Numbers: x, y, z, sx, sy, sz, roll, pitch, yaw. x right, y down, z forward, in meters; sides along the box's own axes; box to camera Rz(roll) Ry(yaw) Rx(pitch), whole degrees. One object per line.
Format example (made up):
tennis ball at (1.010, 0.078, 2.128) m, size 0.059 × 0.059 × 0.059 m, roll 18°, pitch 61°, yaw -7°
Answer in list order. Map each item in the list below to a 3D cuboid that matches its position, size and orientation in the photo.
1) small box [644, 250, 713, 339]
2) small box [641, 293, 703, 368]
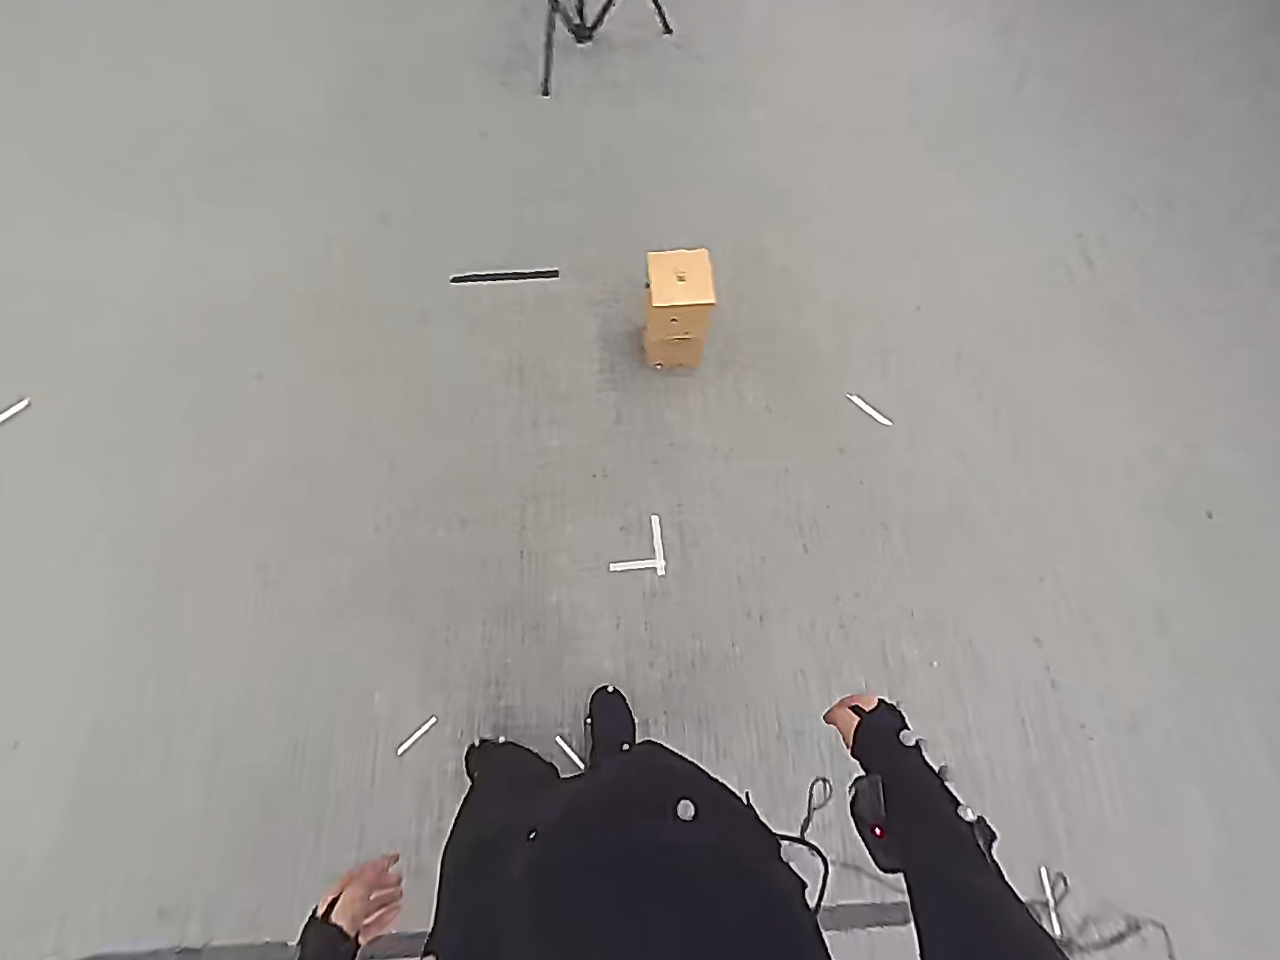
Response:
small box at (0.100, -0.505, 1.498) m, size 0.168 × 0.176 × 0.179 m, roll -5°, pitch 72°, yaw -4°
small box at (0.092, -0.455, 1.652) m, size 0.168 × 0.176 × 0.179 m, roll -6°, pitch 72°, yaw -4°
